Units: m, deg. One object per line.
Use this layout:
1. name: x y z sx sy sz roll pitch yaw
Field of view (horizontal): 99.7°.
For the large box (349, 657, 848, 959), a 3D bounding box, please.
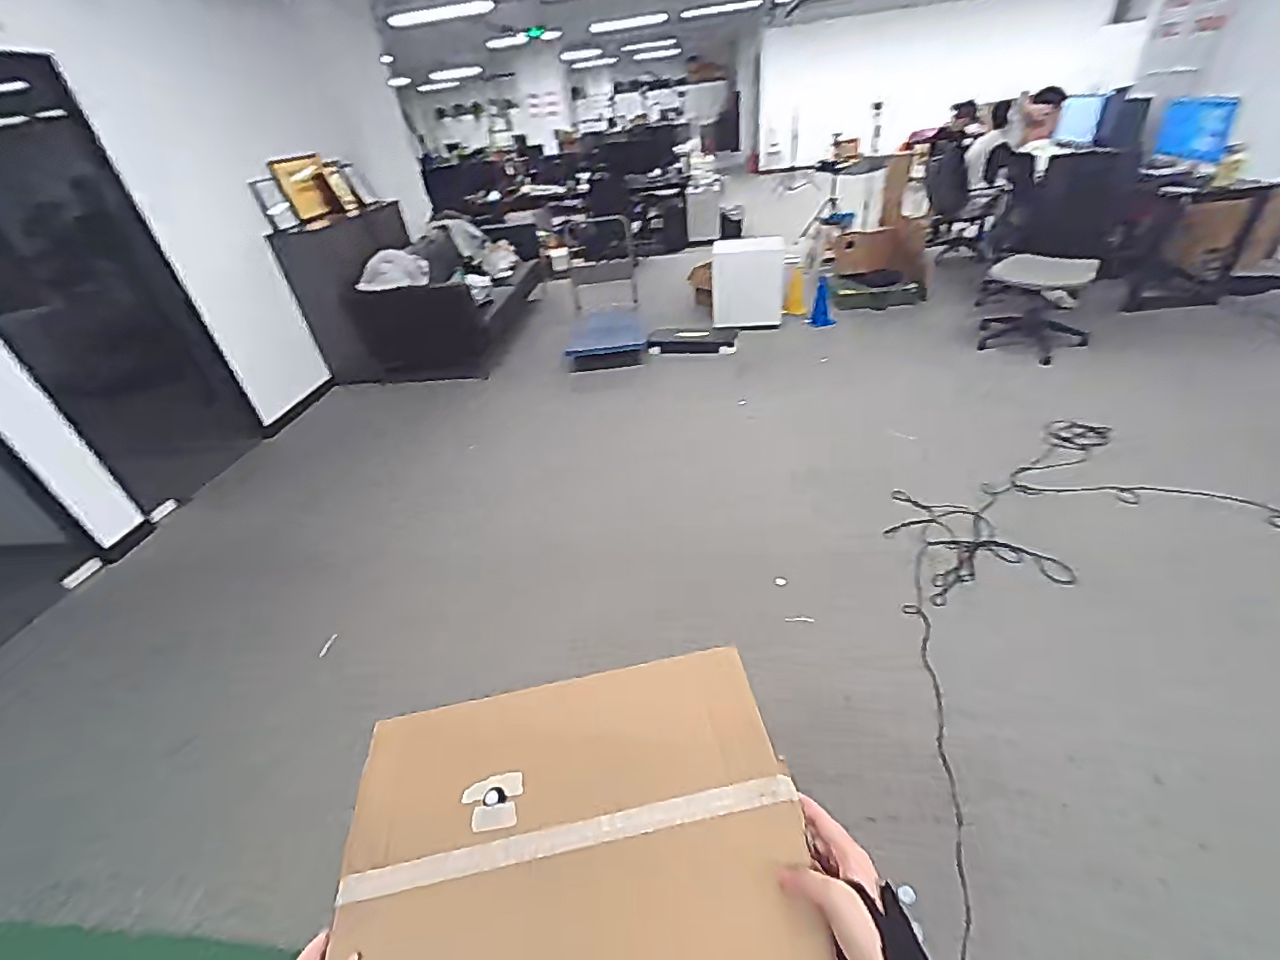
1. large box: -0.031 0.447 0.582 0.408 0.320 0.320 -13 39 -1
